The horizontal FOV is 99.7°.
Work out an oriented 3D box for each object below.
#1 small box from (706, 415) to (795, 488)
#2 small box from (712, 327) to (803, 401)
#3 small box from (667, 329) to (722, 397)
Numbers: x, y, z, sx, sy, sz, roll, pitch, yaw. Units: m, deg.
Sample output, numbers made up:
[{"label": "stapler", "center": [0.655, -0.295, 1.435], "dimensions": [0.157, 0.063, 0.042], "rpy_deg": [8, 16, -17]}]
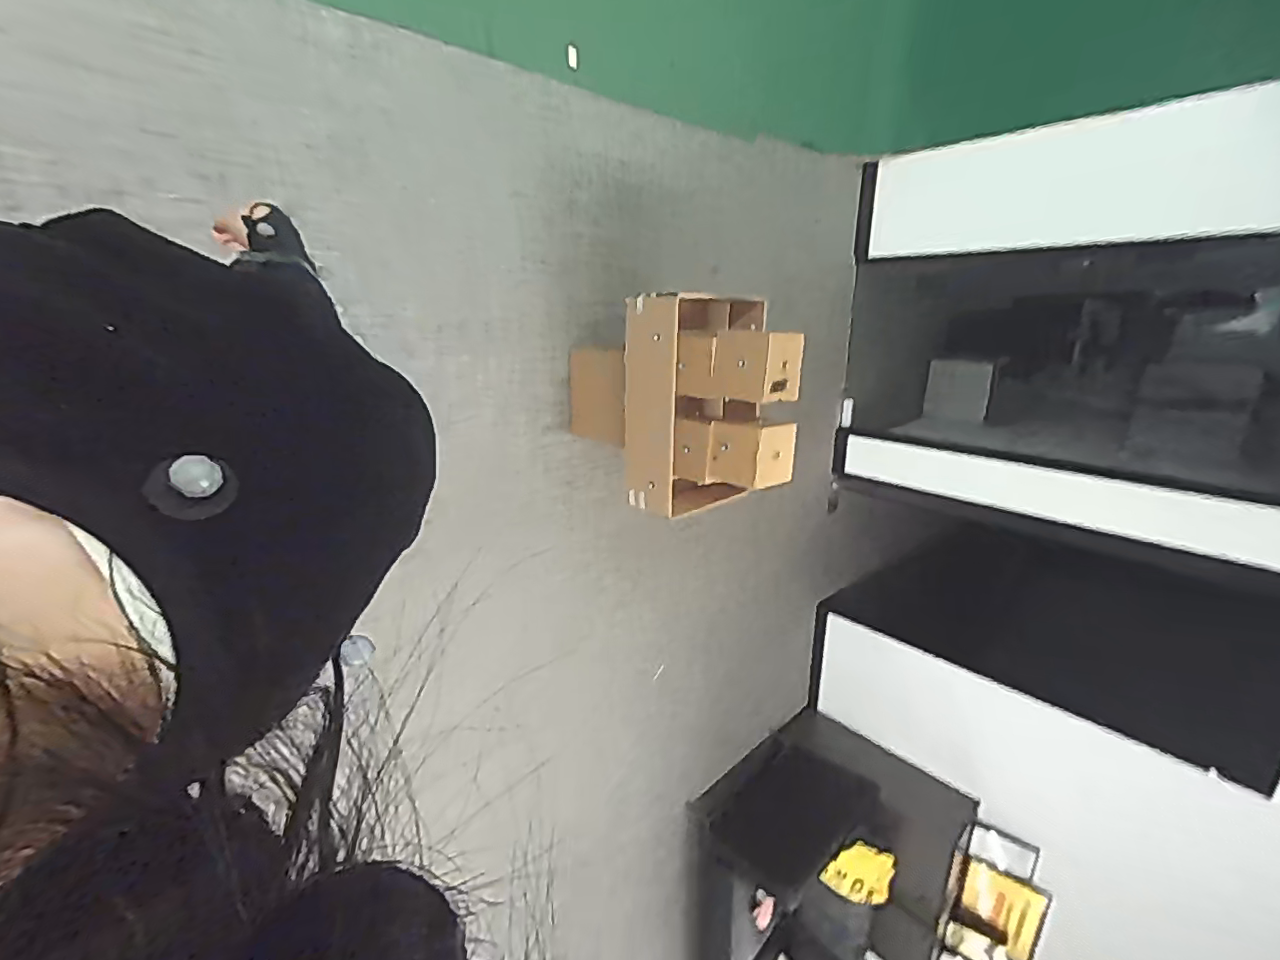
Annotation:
[{"label": "small box", "center": [0.309, -0.087, 1.518], "dimensions": [0.179, 0.176, 0.168], "rpy_deg": [-11, 110, -42]}, {"label": "small box", "center": [0.309, -0.310, 1.440], "dimensions": [0.168, 0.176, 0.179], "rpy_deg": [-11, 110, -43]}, {"label": "small box", "center": [0.198, -0.344, 1.557], "dimensions": [0.179, 0.176, 0.168], "rpy_deg": [-19, 116, -39]}]
